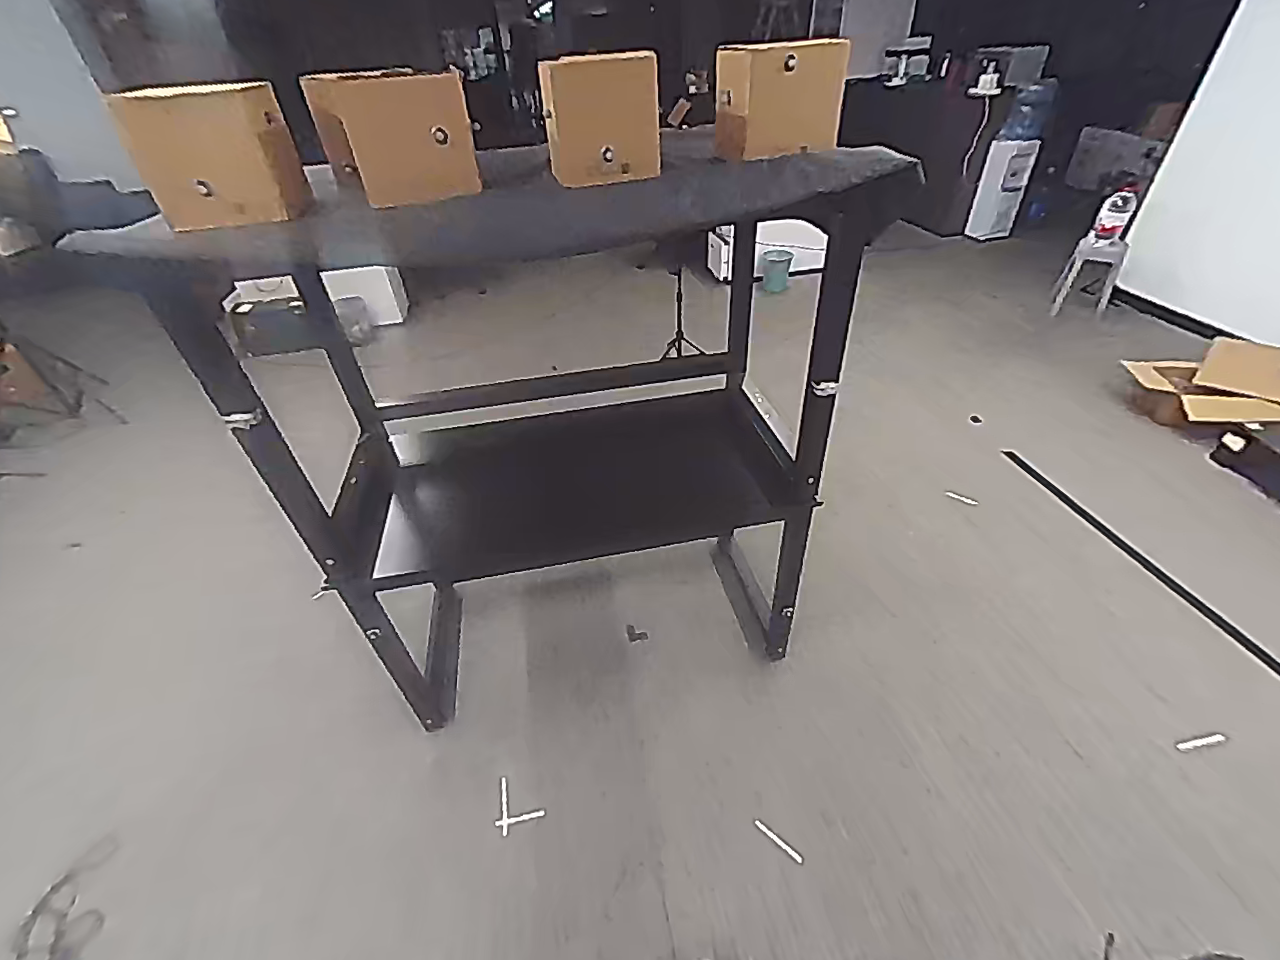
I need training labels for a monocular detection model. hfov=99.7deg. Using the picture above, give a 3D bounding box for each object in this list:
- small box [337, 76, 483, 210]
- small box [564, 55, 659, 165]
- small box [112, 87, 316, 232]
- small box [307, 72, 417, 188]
[{"bbox_3d":[-0.355,-0.548,0.875,0.179,0.176,0.168,-10,37,-10],"label":"small box"},{"bbox_3d":[-0.058,-0.744,1.089,0.168,0.176,0.179,-9,39,-5],"label":"small box"},{"bbox_3d":[-0.629,-0.493,0.831,0.168,0.176,0.179,-11,40,-10],"label":"small box"},{"bbox_3d":[-0.496,-0.669,1.038,0.168,0.176,0.179,-9,39,-6],"label":"small box"}]
